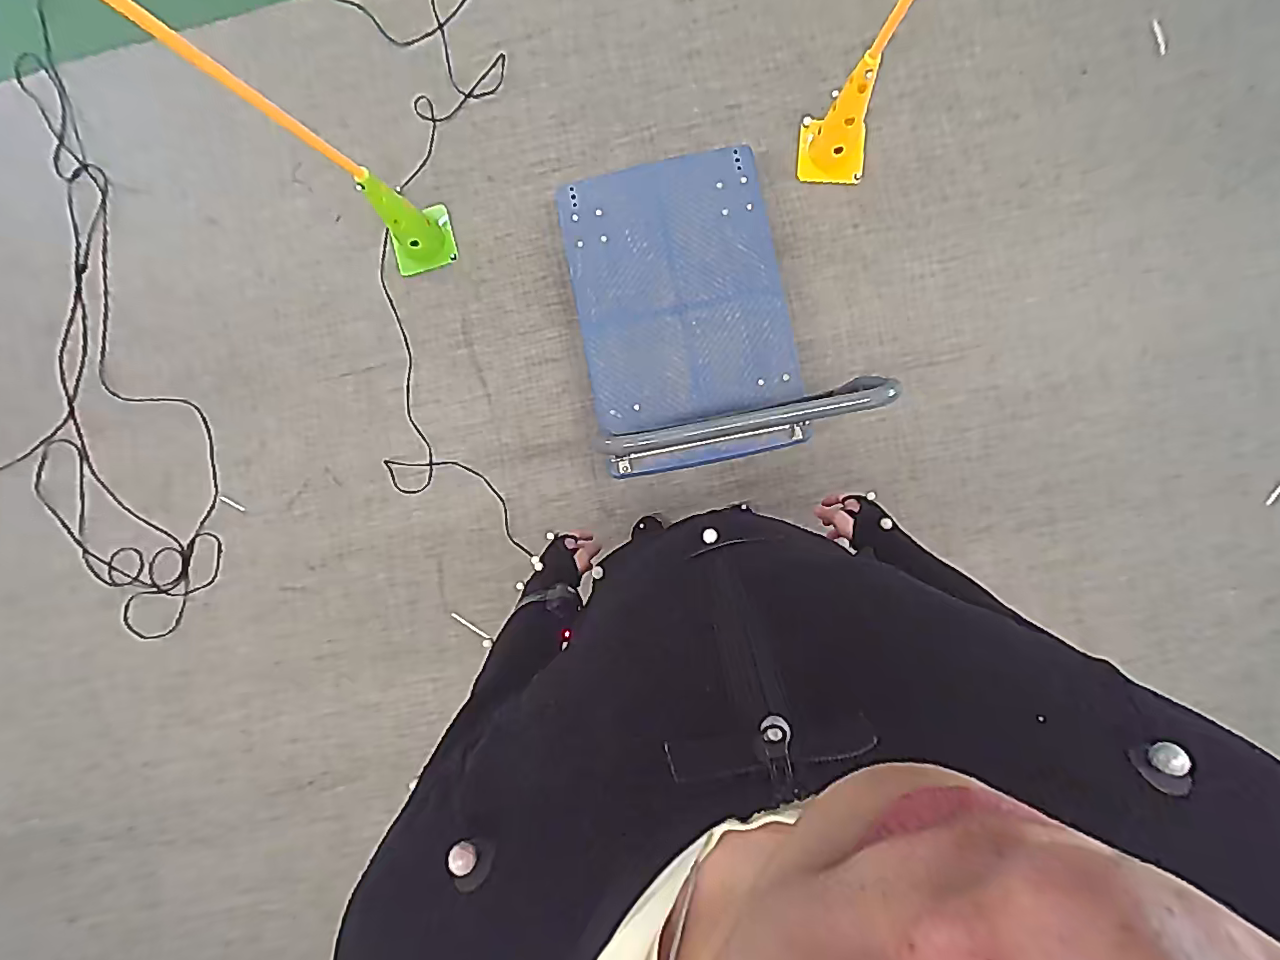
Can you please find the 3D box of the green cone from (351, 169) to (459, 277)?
[{"bbox_3d":[-0.715,-0.788,1.586,0.202,0.368,0.200,-16,85,5],"label":"green cone"}]
